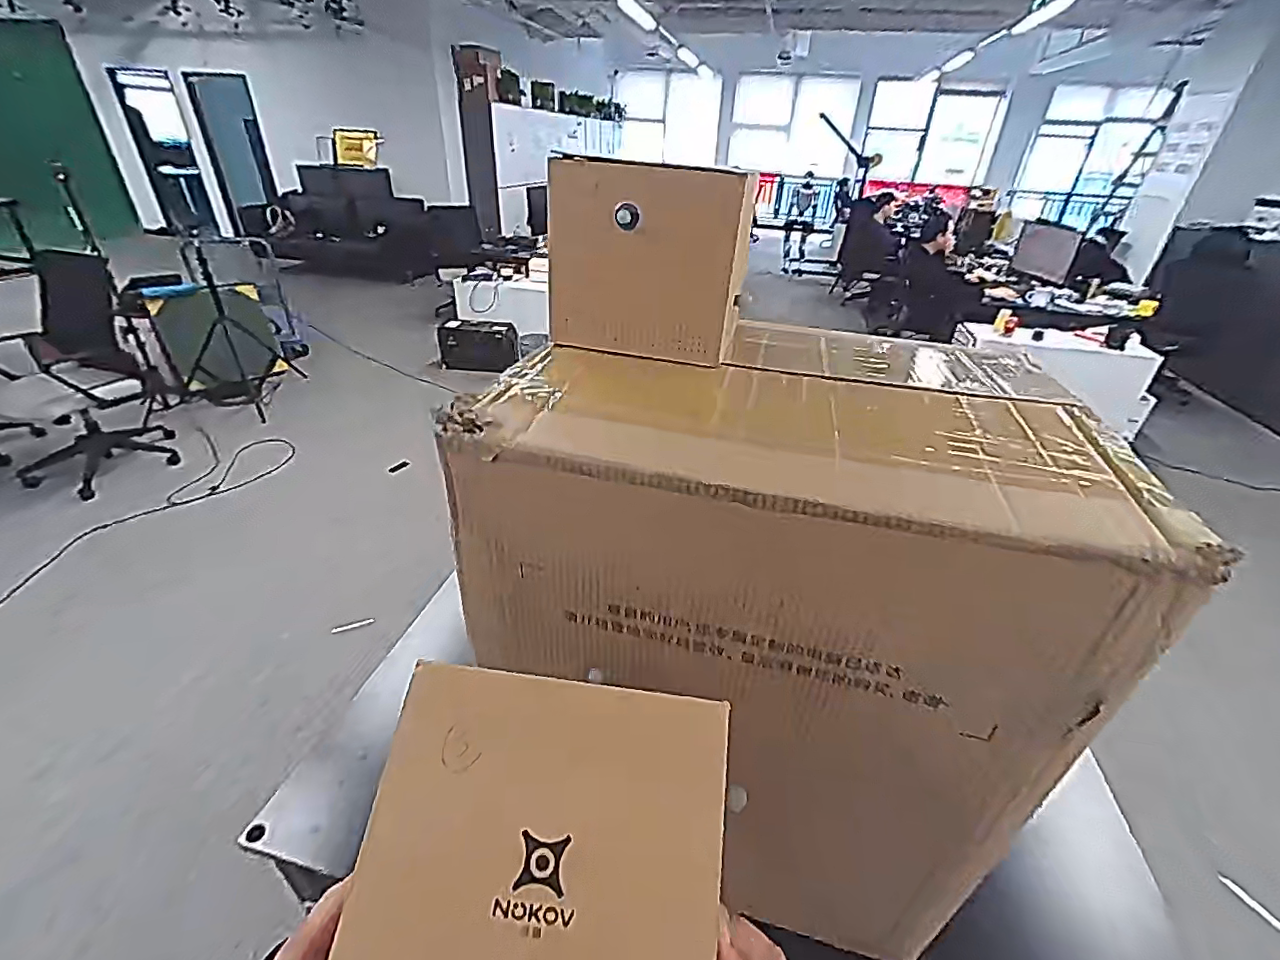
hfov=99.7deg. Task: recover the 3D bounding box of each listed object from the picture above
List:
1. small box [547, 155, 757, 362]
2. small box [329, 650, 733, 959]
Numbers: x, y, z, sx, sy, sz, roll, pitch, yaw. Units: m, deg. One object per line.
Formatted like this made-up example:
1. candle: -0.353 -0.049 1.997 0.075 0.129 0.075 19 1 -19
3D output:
1. small box: 0.016 -0.229 0.560 0.179 0.176 0.168 11 31 10
2. small box: -0.045 0.211 0.313 0.168 0.176 0.179 7 64 4
